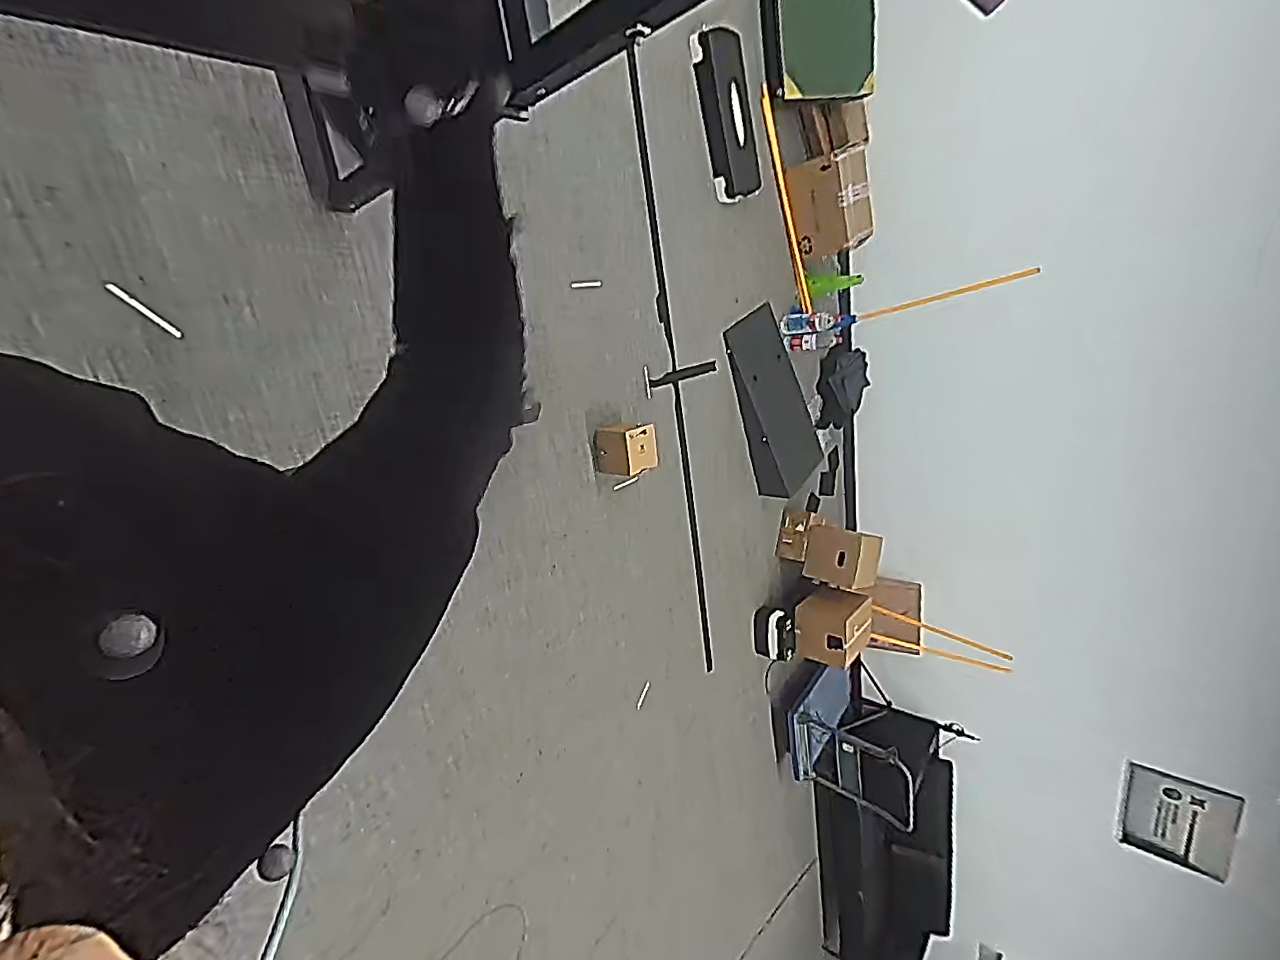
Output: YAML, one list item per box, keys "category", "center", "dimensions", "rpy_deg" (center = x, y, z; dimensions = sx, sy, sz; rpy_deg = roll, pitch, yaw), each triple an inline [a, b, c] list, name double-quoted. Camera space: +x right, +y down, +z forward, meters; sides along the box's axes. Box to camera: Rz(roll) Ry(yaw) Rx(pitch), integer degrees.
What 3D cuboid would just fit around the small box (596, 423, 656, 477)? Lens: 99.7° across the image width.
- category: "small box"
  center: [-0.056, -0.124, 2.131]
  dimensions: [0.168, 0.176, 0.179]
  rpy_deg: [-22, 113, -45]
